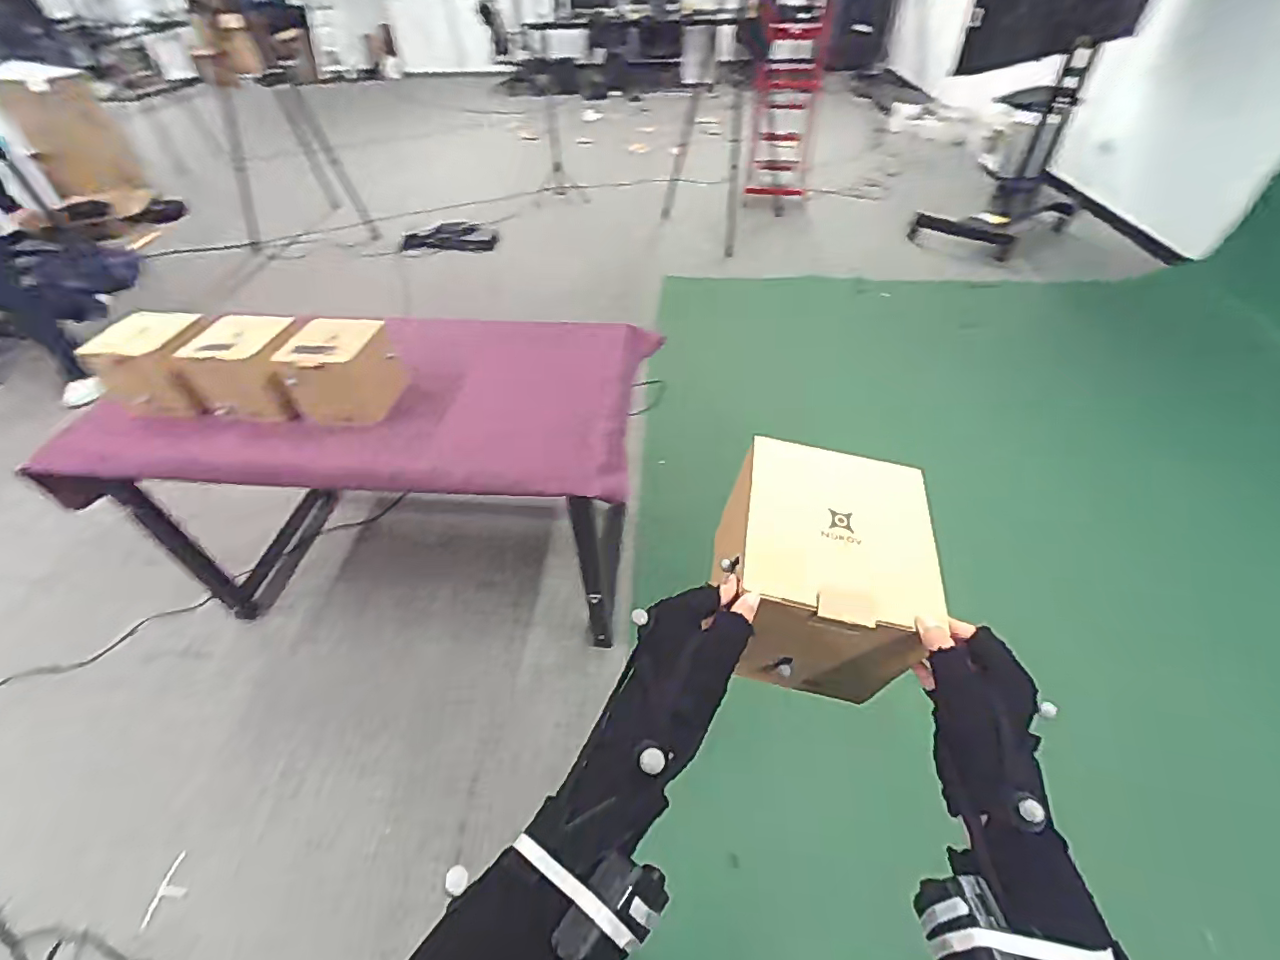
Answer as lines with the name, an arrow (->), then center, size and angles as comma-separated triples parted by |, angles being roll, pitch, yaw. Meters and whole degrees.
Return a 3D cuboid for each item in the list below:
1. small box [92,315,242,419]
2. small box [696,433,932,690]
small box -> -1.075, -0.263, 1.253 | 0.168, 0.176, 0.179 | 3, 45, 5
small box -> 0.156, 0.084, 0.541 | 0.168, 0.176, 0.179 | 11, 52, 2
